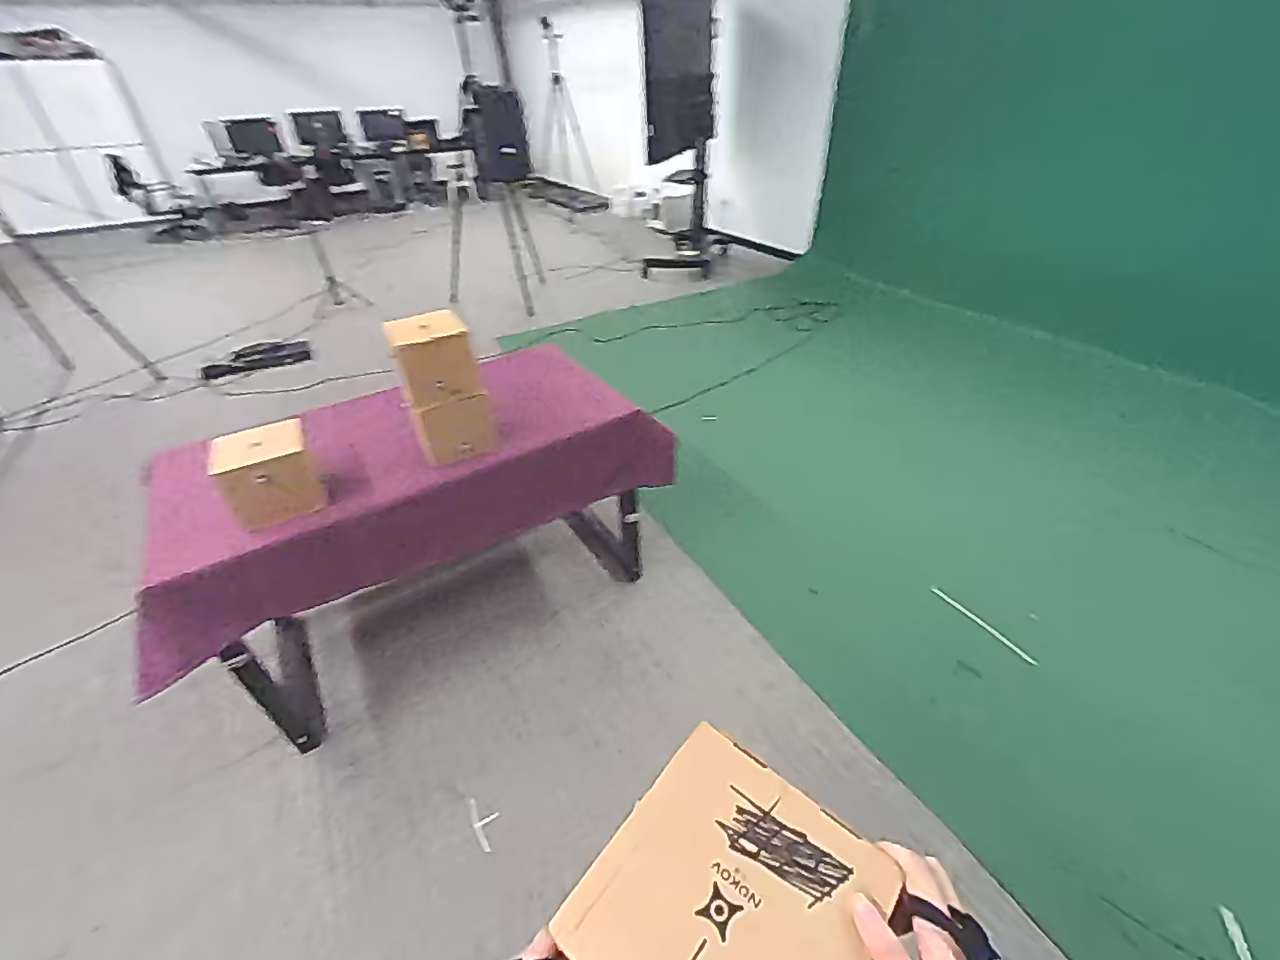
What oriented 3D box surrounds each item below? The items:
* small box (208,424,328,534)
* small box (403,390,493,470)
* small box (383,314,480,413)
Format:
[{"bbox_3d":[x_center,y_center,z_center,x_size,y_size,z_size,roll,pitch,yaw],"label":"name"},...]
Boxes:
[{"bbox_3d":[-0.850,-0.001,1.247,0.179,0.176,0.168,-20,41,-23],"label":"small box"},{"bbox_3d":[-0.499,-0.153,1.425,0.179,0.176,0.168,-21,40,-24],"label":"small box"},{"bbox_3d":[-0.513,-0.288,1.334,0.168,0.176,0.179,-22,42,-22],"label":"small box"}]
